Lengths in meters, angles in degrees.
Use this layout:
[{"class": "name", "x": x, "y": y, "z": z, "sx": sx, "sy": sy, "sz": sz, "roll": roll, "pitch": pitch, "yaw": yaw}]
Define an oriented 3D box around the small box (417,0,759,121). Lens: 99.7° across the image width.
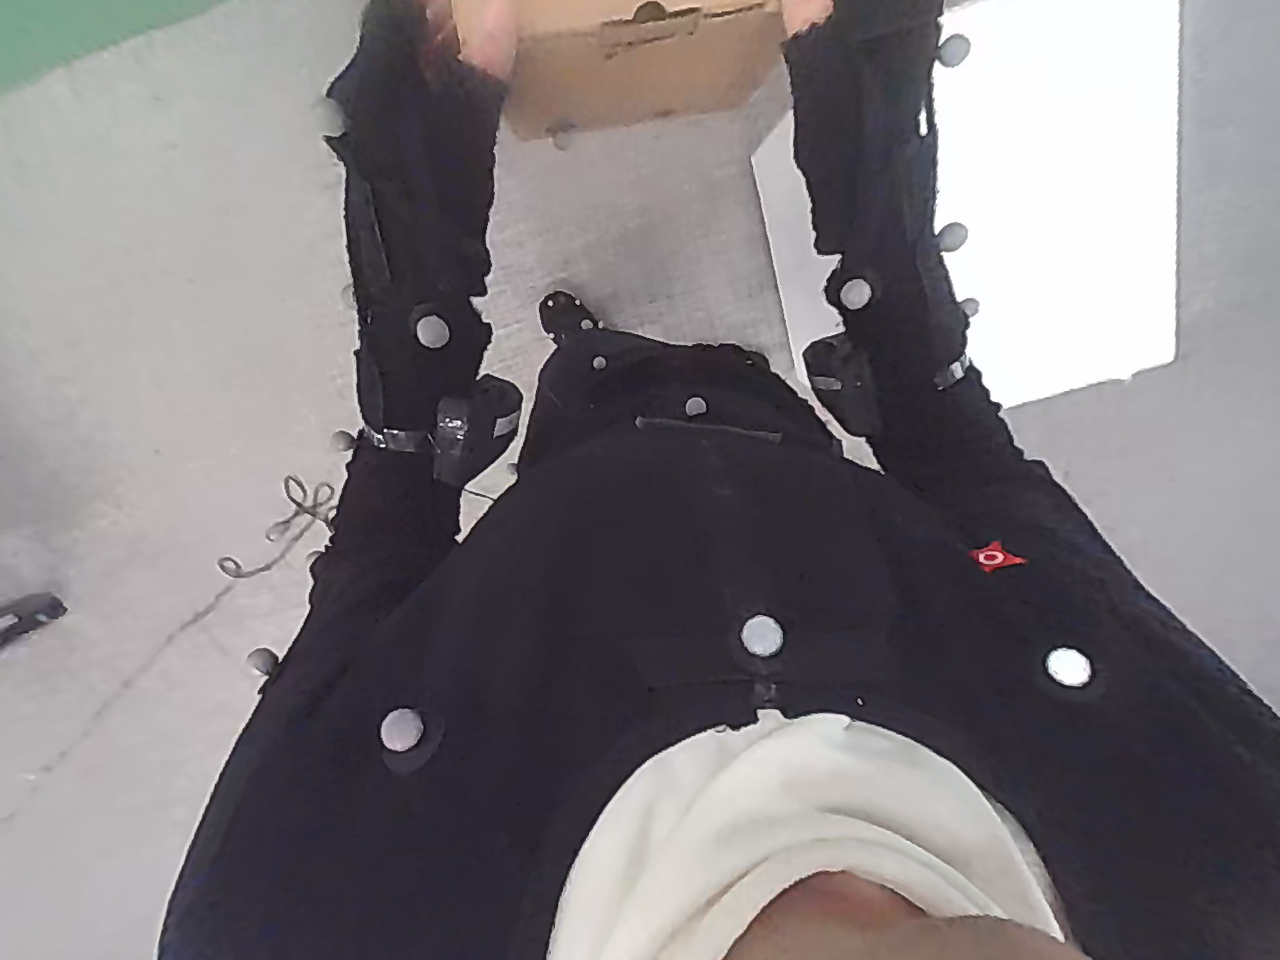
[{"class": "small box", "x": -0.029, "y": -0.311, "z": 0.280, "sx": 0.168, "sy": 0.176, "sz": 0.179, "roll": -9, "pitch": 109, "yaw": 0}]
